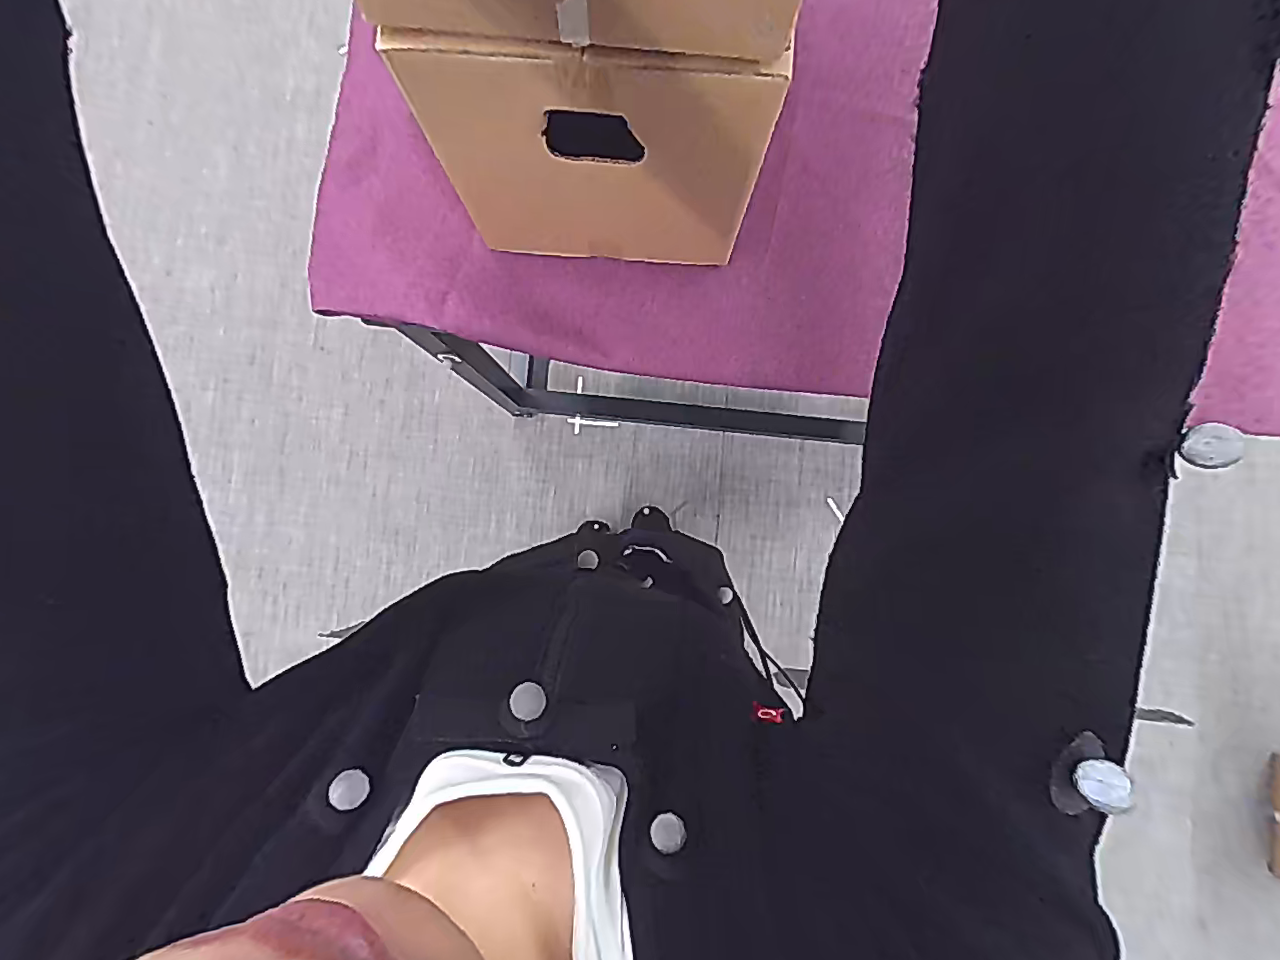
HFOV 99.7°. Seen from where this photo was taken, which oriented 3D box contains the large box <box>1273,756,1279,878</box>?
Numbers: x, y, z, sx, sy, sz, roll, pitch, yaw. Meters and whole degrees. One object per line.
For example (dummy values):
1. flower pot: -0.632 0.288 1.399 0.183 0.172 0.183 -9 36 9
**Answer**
1. large box: 1.771 0.836 1.188 0.408 0.320 0.320 4 86 2
